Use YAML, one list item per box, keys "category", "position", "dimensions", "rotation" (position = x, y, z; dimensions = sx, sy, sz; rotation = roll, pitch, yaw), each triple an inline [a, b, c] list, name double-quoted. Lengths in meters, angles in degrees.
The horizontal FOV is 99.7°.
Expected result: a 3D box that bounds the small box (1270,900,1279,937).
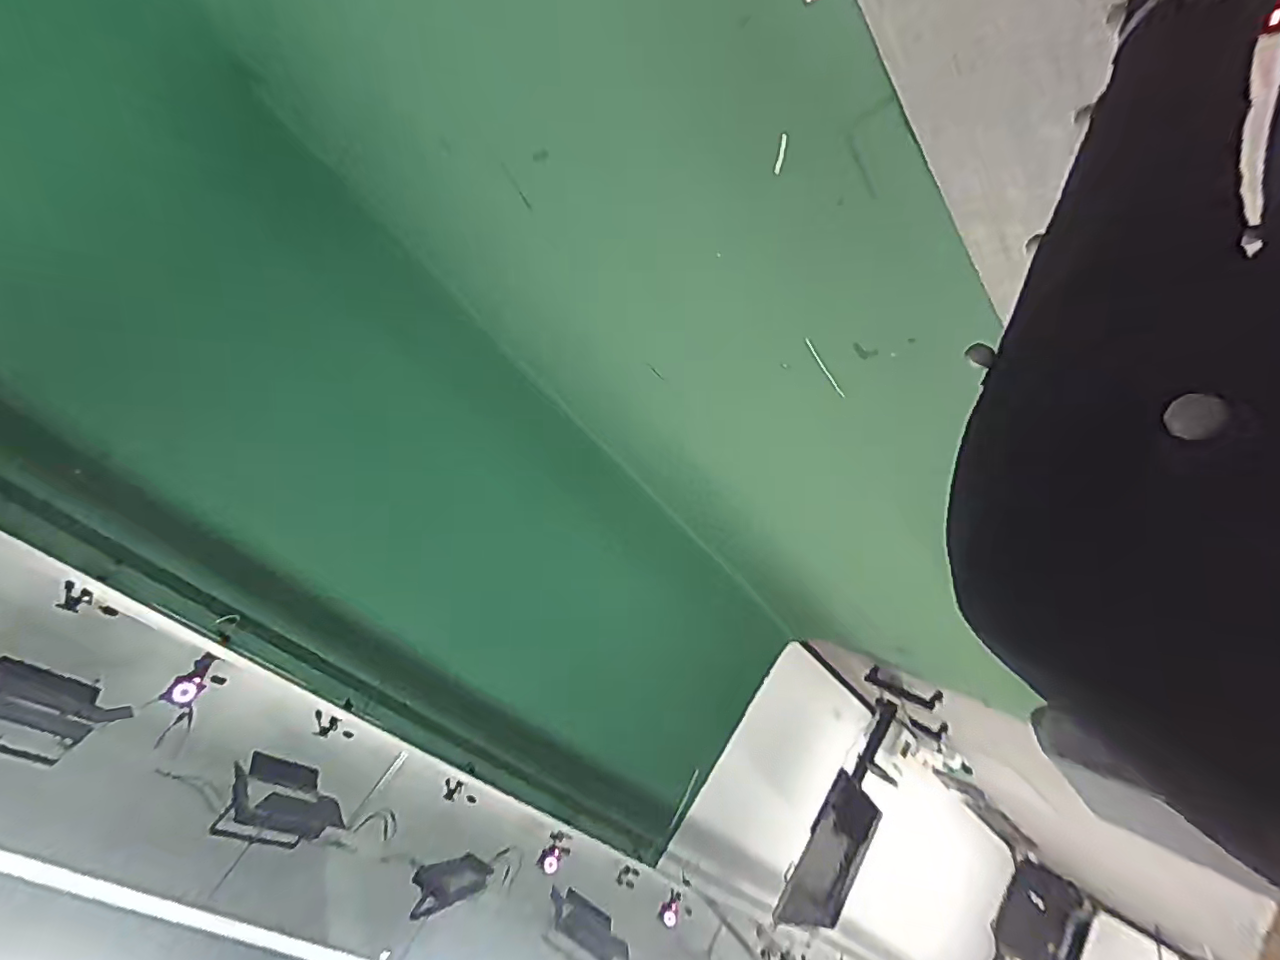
- category: "small box"
  position: [1.795, 1.179, 1.398]
  dimensions: [0.168, 0.176, 0.179]
  rotation: [45, 163, -24]
